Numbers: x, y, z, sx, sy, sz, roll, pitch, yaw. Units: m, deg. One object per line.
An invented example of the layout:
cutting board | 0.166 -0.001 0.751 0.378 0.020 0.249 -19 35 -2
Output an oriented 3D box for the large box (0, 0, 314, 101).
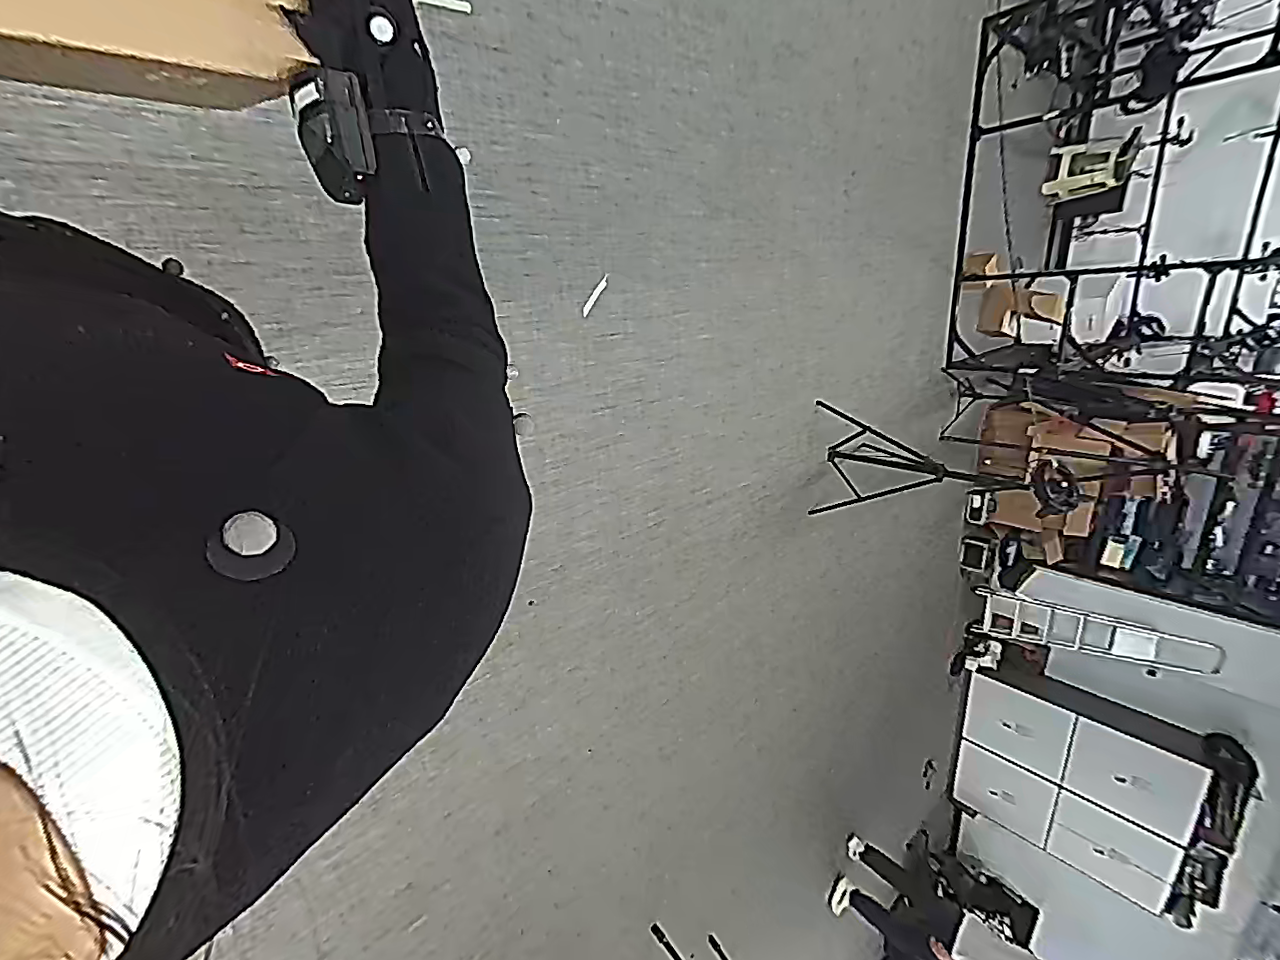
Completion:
large box | -0.454 -0.408 0.267 0.408 0.320 0.320 -19 127 -38
